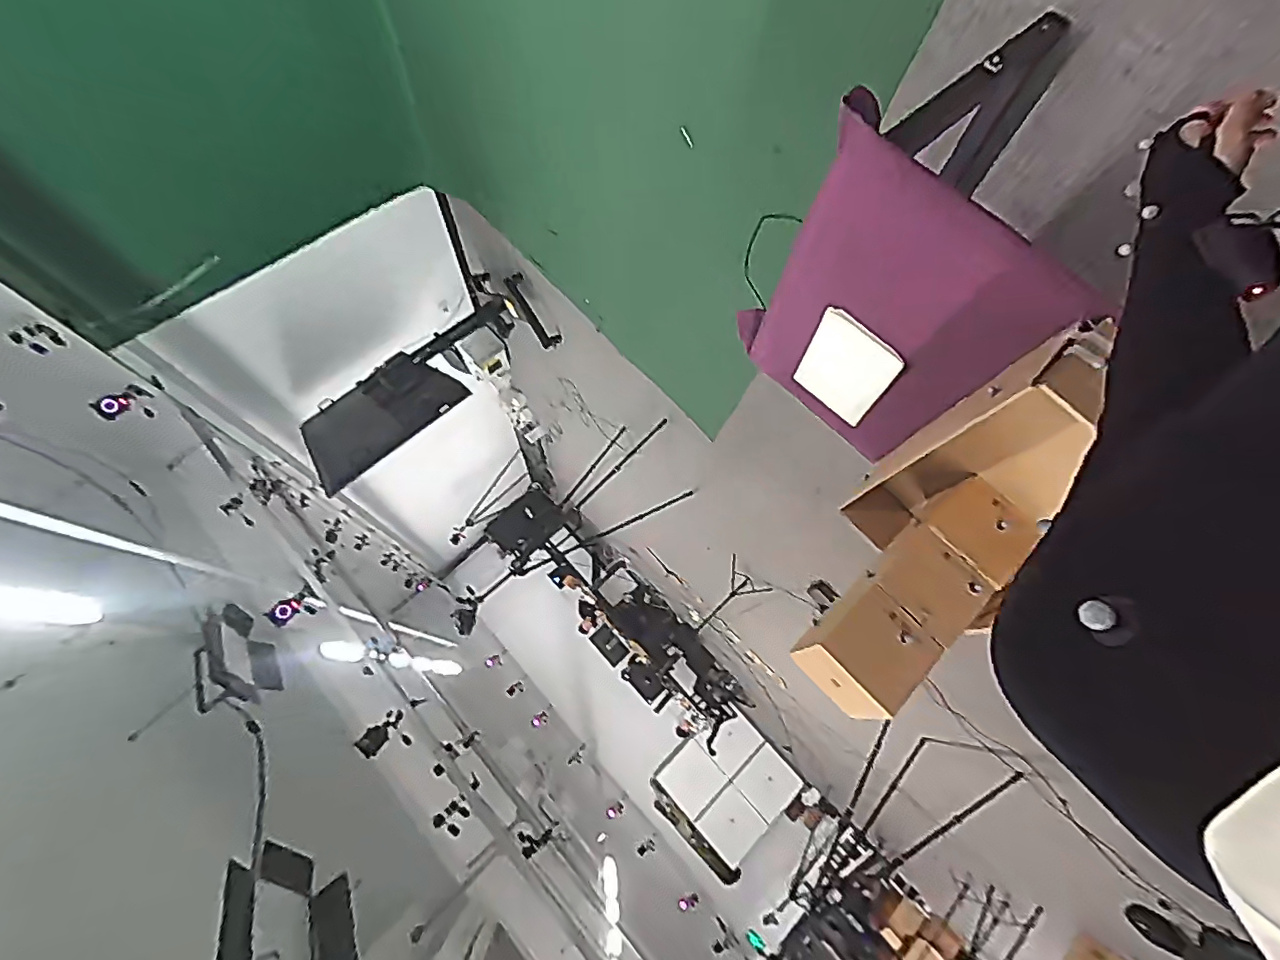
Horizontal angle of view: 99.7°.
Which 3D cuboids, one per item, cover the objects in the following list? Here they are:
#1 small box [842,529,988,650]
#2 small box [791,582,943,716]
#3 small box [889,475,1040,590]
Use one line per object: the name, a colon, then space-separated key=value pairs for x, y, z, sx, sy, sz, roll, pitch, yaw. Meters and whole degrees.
small box: x=0.545 y=0.223 z=1.072 sx=0.168 sy=0.176 sz=0.179 roll=46 pitch=162 yaw=14
small box: x=0.424 y=0.319 z=1.020 sx=0.168 sy=0.176 sz=0.179 roll=46 pitch=160 yaw=14
small box: x=0.666 y=0.121 z=1.116 sx=0.168 sy=0.176 sz=0.179 roll=46 pitch=161 yaw=13
